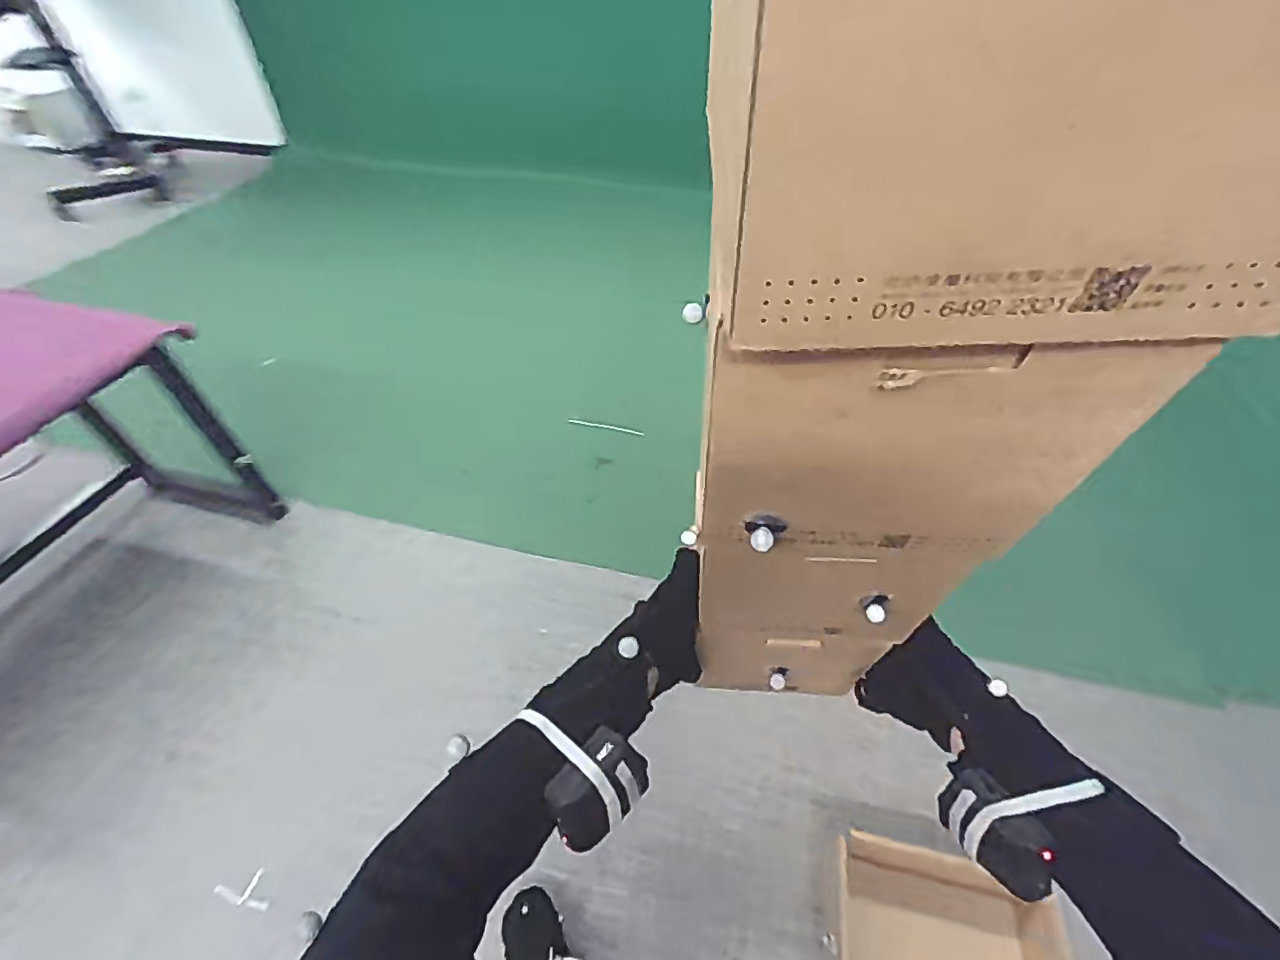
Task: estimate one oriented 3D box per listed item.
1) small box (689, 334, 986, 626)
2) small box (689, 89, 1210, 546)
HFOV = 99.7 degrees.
[{"bbox_3d":[0.123,0.002,0.416,0.168,0.176,0.179,0,55,5],"label":"small box"},{"bbox_3d":[0.113,-0.077,0.292,0.168,0.176,0.179,1,55,4],"label":"small box"}]
